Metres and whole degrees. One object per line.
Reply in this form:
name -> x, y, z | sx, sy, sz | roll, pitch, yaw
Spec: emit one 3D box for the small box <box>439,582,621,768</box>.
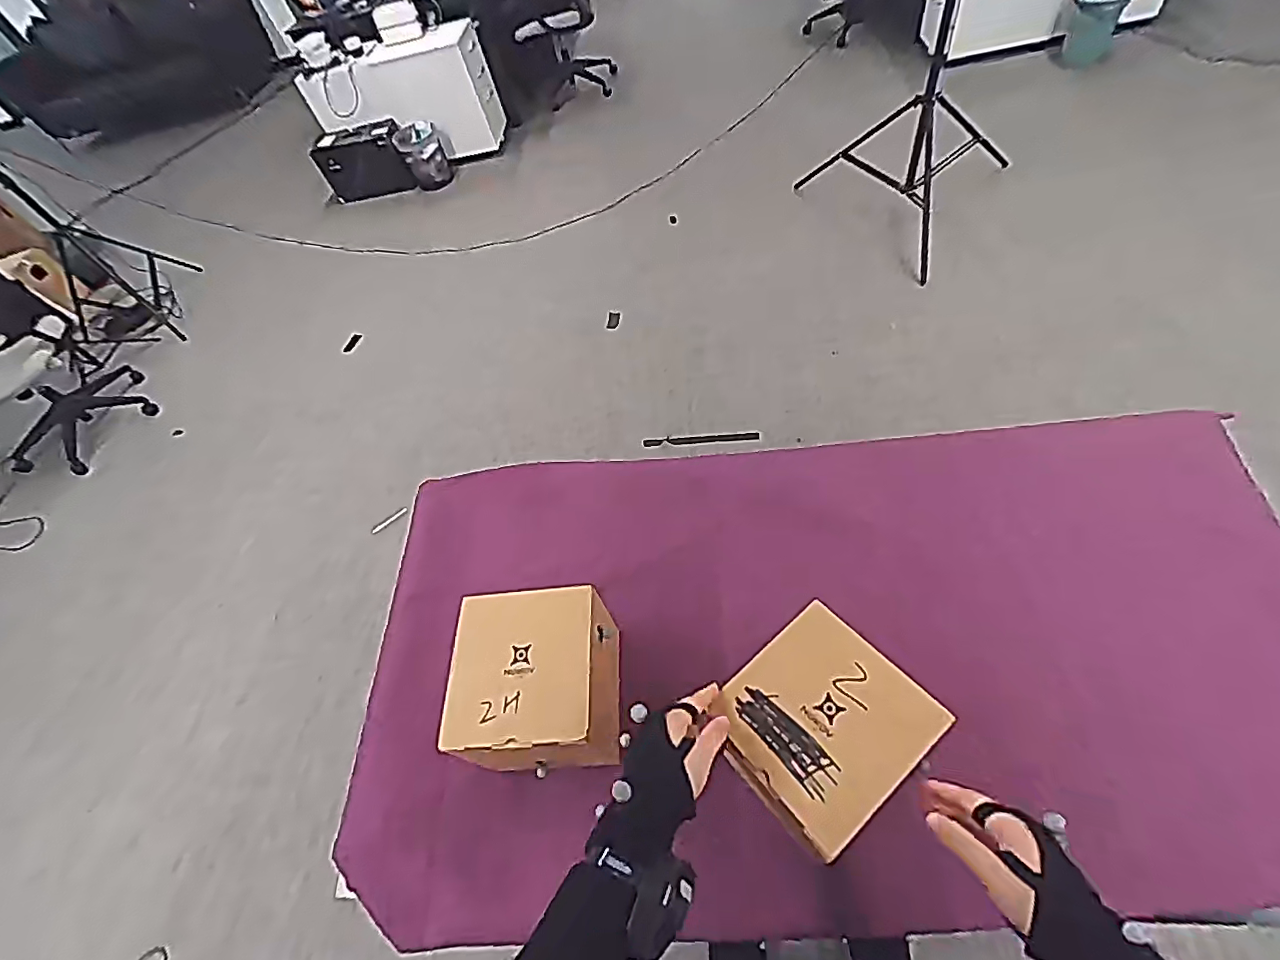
small box -> -0.120, 0.246, 0.669 | 0.168, 0.176, 0.179 | -7, 55, 7
